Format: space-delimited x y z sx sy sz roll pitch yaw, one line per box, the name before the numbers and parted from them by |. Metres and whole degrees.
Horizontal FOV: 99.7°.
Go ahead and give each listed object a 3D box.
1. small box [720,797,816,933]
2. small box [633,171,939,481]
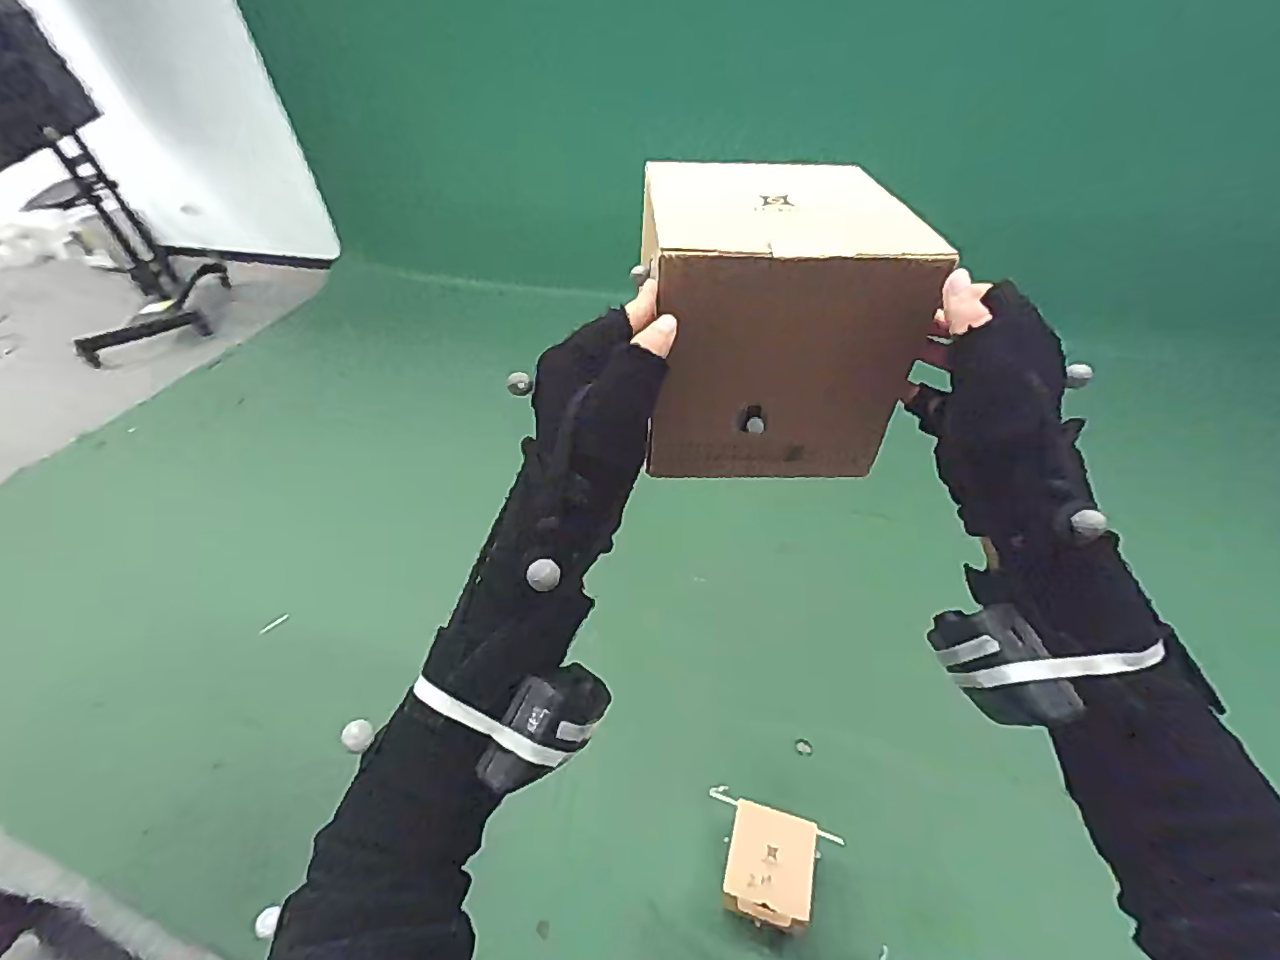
small box | 0.268 0.819 1.149 0.168 0.176 0.179 11 46 16
small box | 0.081 -0.118 0.413 0.168 0.176 0.179 -1 44 -3
